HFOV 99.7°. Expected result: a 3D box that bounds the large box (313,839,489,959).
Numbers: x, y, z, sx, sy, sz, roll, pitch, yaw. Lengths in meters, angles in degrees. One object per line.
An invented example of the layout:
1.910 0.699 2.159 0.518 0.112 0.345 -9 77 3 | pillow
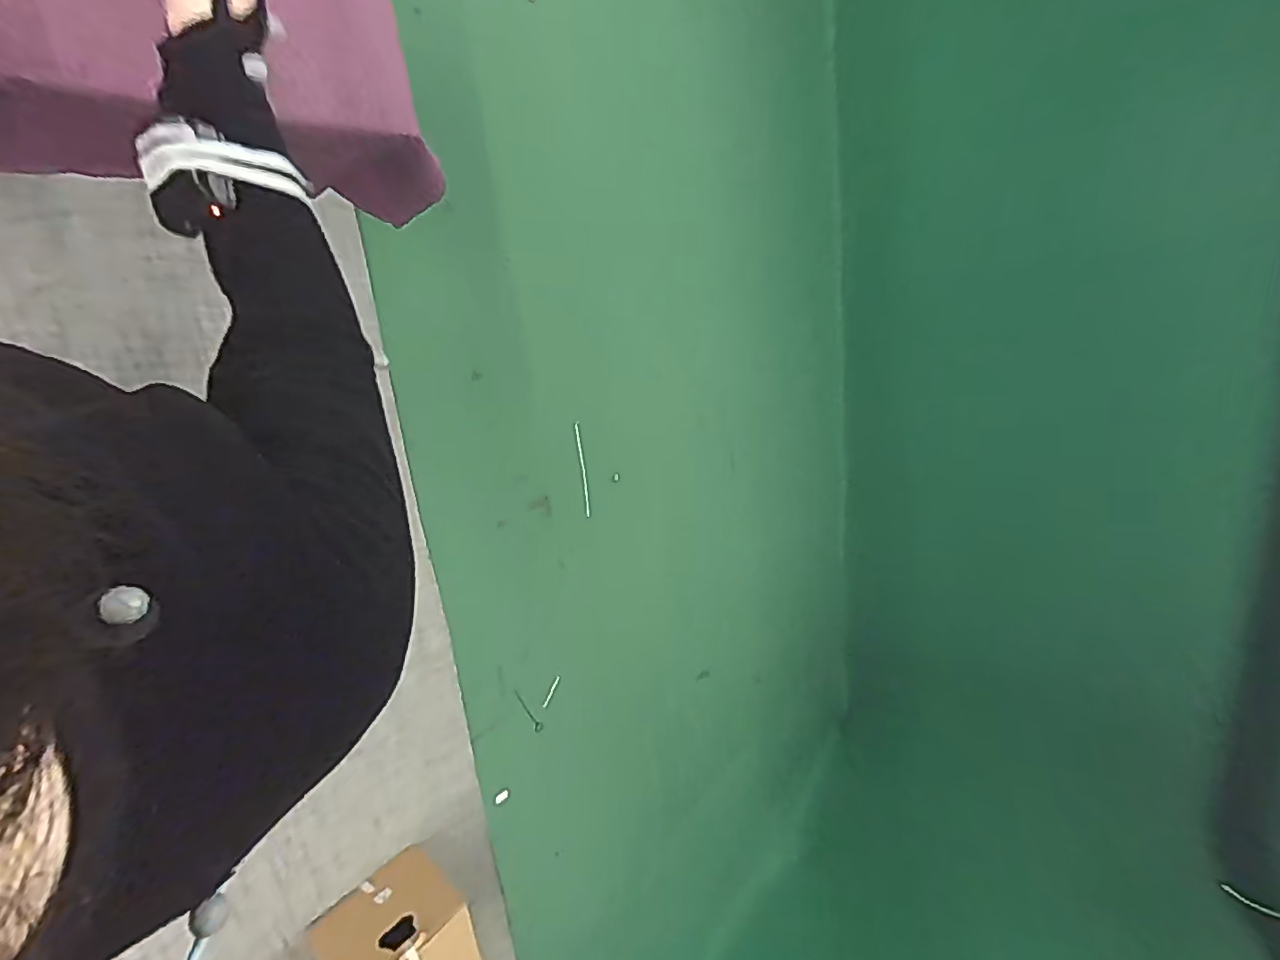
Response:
-0.658 1.347 1.528 0.320 0.320 0.408 -23 112 -45 | large box
